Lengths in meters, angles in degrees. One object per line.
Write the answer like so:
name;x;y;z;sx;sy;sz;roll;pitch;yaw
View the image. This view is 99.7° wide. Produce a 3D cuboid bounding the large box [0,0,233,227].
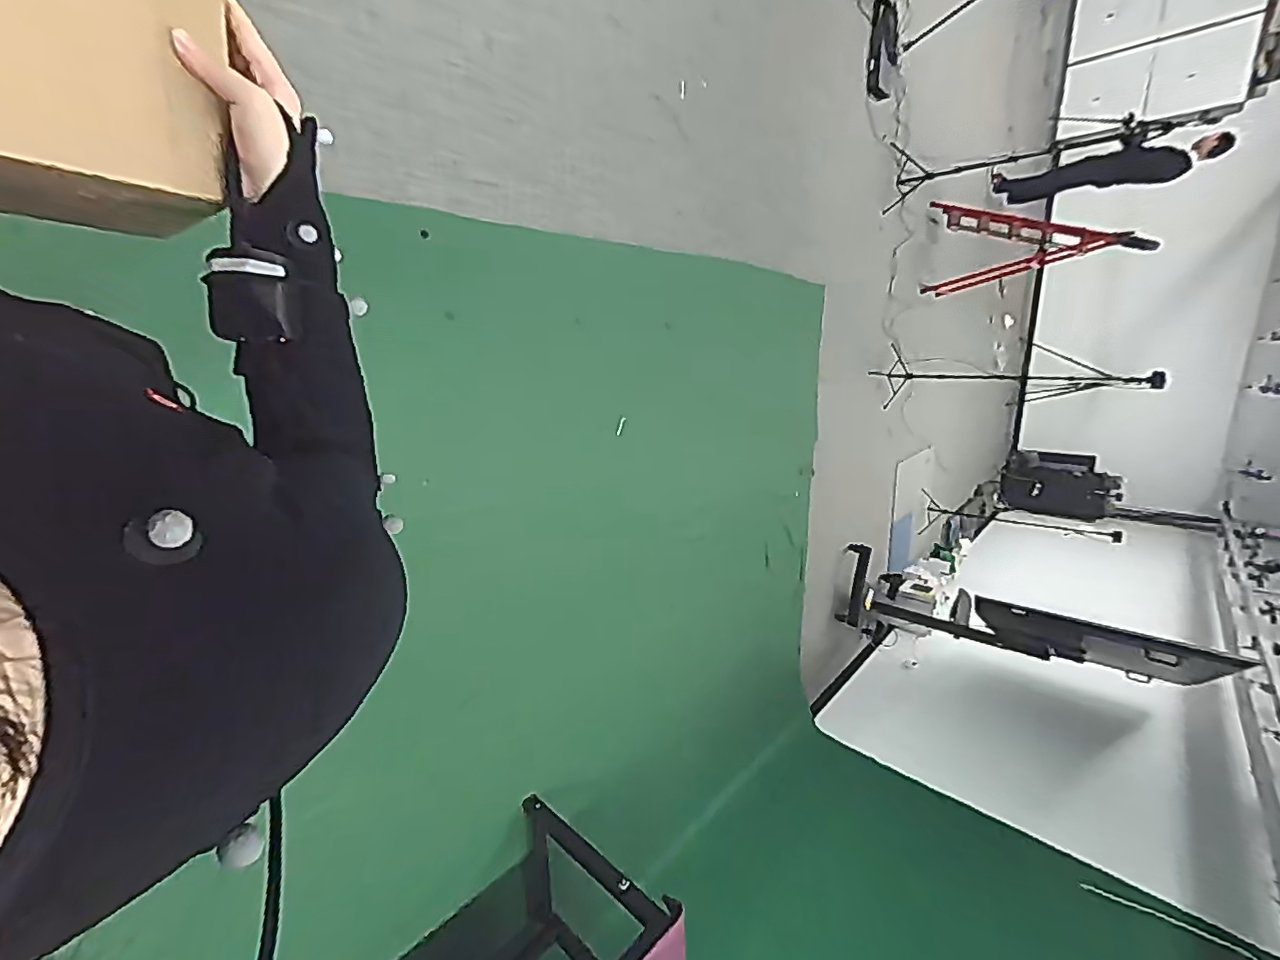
large box;-0.546;-0.373;0.330;0.408;0.320;0.320;-10;110;-48
